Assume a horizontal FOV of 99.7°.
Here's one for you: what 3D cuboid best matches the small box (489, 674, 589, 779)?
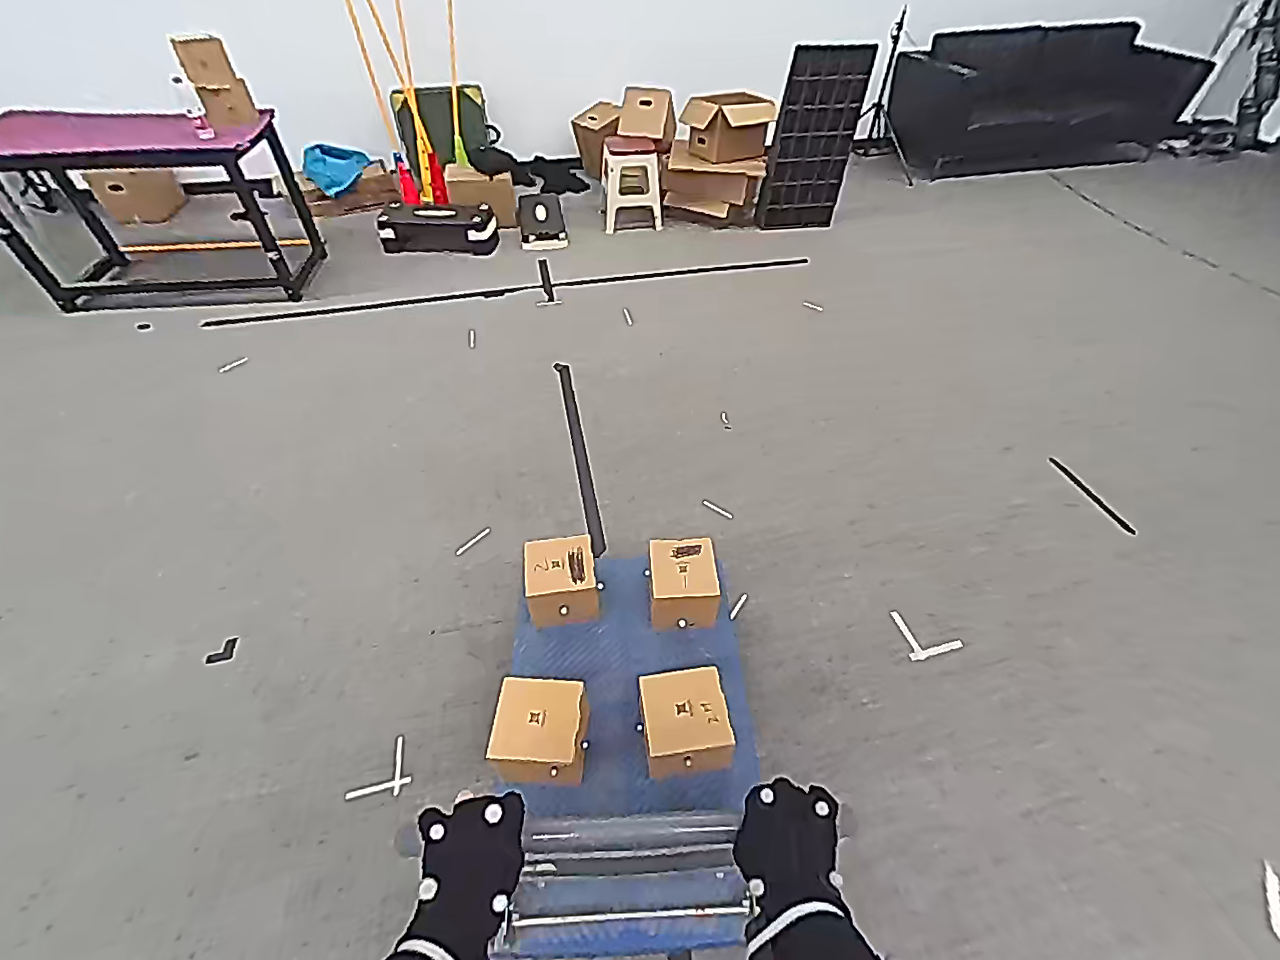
[{"bbox_3d":[-0.211,0.542,1.182,0.179,0.176,0.168,2,48,1],"label":"small box"}]

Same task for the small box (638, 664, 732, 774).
[{"bbox_3d":[0.094,0.530,1.192,0.179,0.176,0.168,-6,47,-5],"label":"small box"}]

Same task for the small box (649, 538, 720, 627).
[{"bbox_3d":[0.110,0.272,1.433,0.168,0.176,0.179,-2,48,-2],"label":"small box"}]
